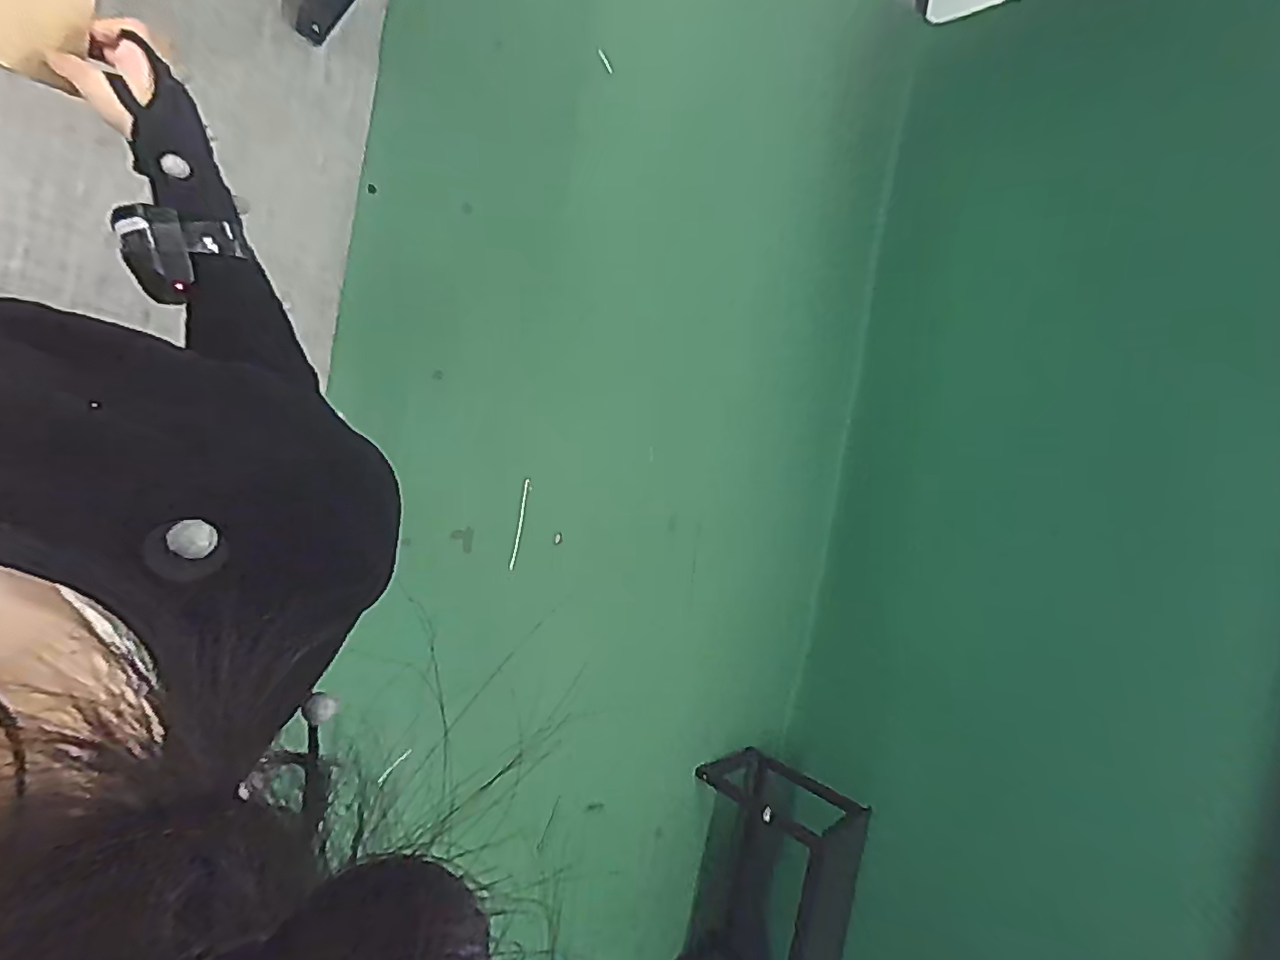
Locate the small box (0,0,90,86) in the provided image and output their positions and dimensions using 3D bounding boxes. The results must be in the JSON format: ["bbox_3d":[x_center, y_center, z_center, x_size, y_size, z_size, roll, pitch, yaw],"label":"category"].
[{"bbox_3d":[-0.496,-0.393,0.333,0.168,0.176,0.179,-68,165,12],"label":"small box"}]
